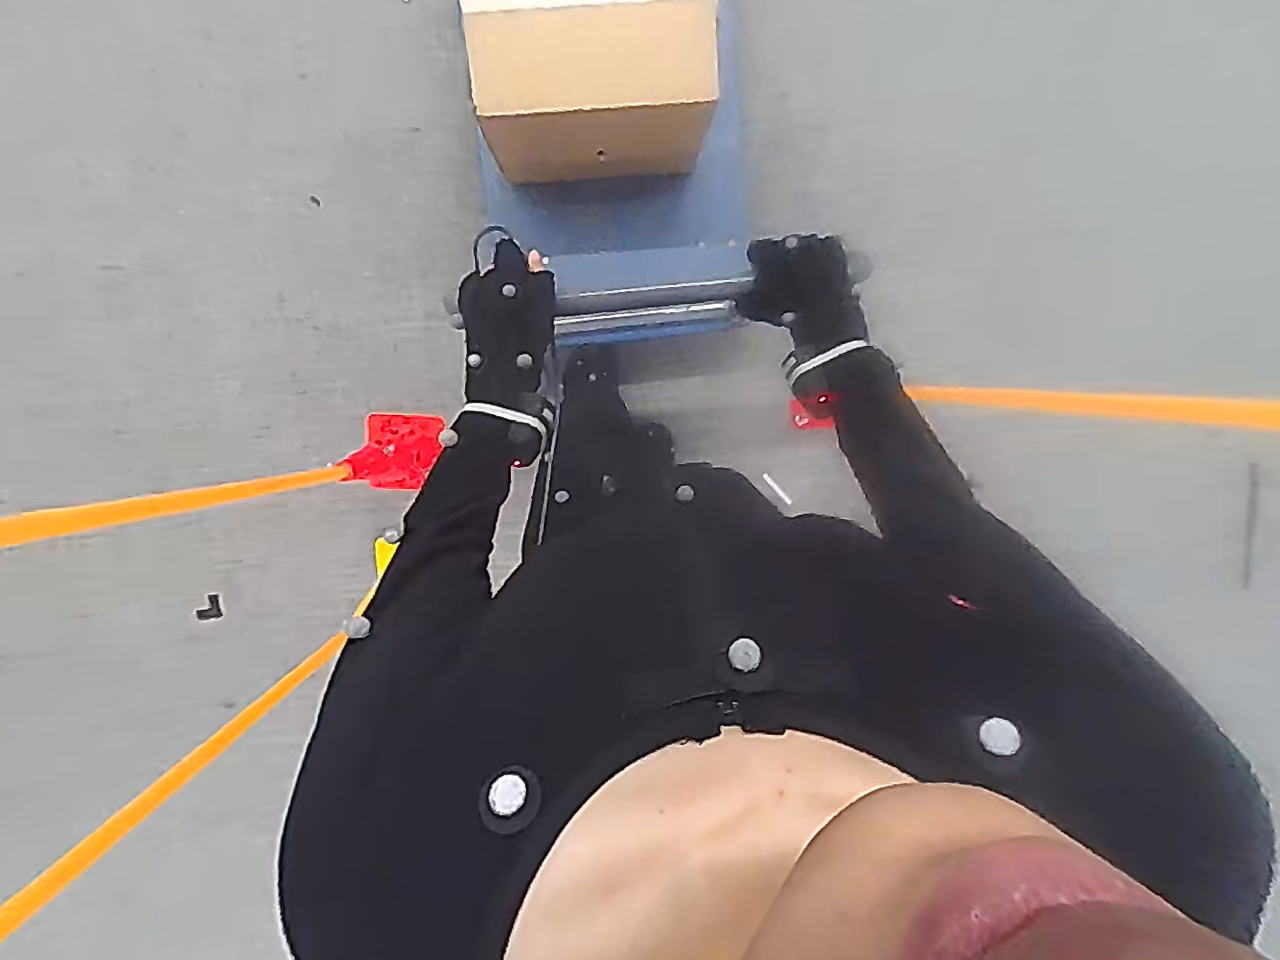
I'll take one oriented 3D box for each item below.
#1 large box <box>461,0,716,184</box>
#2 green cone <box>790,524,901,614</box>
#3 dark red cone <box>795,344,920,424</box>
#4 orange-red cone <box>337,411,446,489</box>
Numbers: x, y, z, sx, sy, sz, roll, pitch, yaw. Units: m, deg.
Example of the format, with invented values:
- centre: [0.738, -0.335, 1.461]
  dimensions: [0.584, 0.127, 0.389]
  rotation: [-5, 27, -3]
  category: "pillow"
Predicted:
- centre: [-0.090, -0.783, 1.011]
  dimensions: [0.408, 0.320, 0.320]
  rotation: [-6, 100, -2]
  category: "large box"
- centre: [0.534, 0.251, 1.355]
  dimensions: [0.202, 0.368, 0.200]
  rotation: [-1, 99, -4]
  category: "green cone"
- centre: [0.521, -0.225, 1.260]
  dimensions: [0.201, 0.394, 0.202]
  rotation: [-5, 100, -4]
  category: "dark red cone"
- centre: [-0.600, -0.054, 1.251]
  dimensions: [0.198, 0.360, 0.199]
  rotation: [3, 98, -4]
  category: "orange-red cone"
